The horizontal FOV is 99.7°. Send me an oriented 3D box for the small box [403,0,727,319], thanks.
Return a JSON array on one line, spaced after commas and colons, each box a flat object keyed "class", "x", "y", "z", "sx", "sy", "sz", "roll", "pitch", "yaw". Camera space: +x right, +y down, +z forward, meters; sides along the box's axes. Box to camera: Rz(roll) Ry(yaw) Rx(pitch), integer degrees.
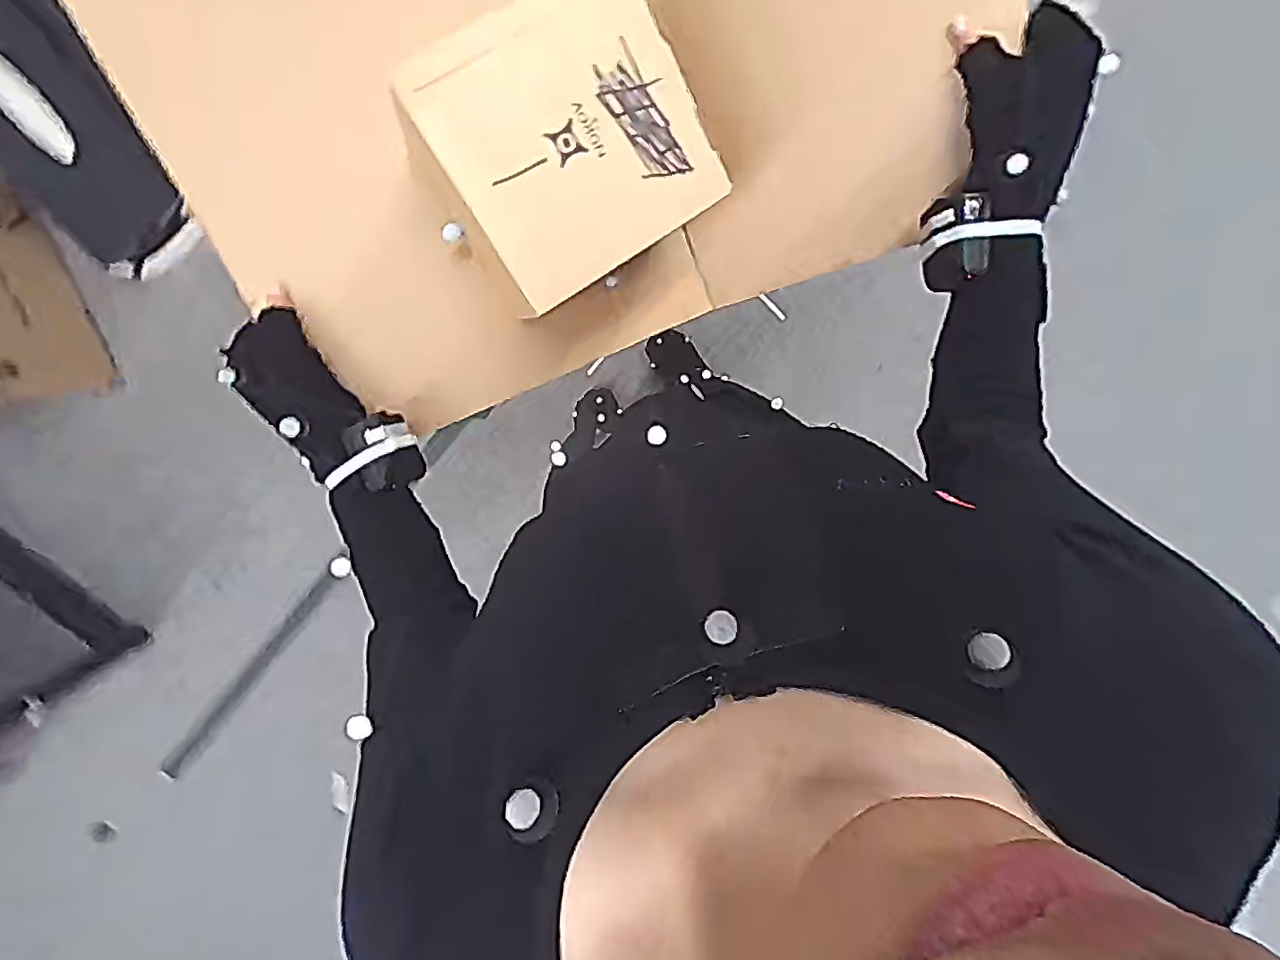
[{"class": "small box", "x": -0.065, "y": -0.250, "z": 0.446, "sx": 0.179, "sy": 0.176, "sz": 0.168, "roll": -34, "pitch": 112, "yaw": -6}]
